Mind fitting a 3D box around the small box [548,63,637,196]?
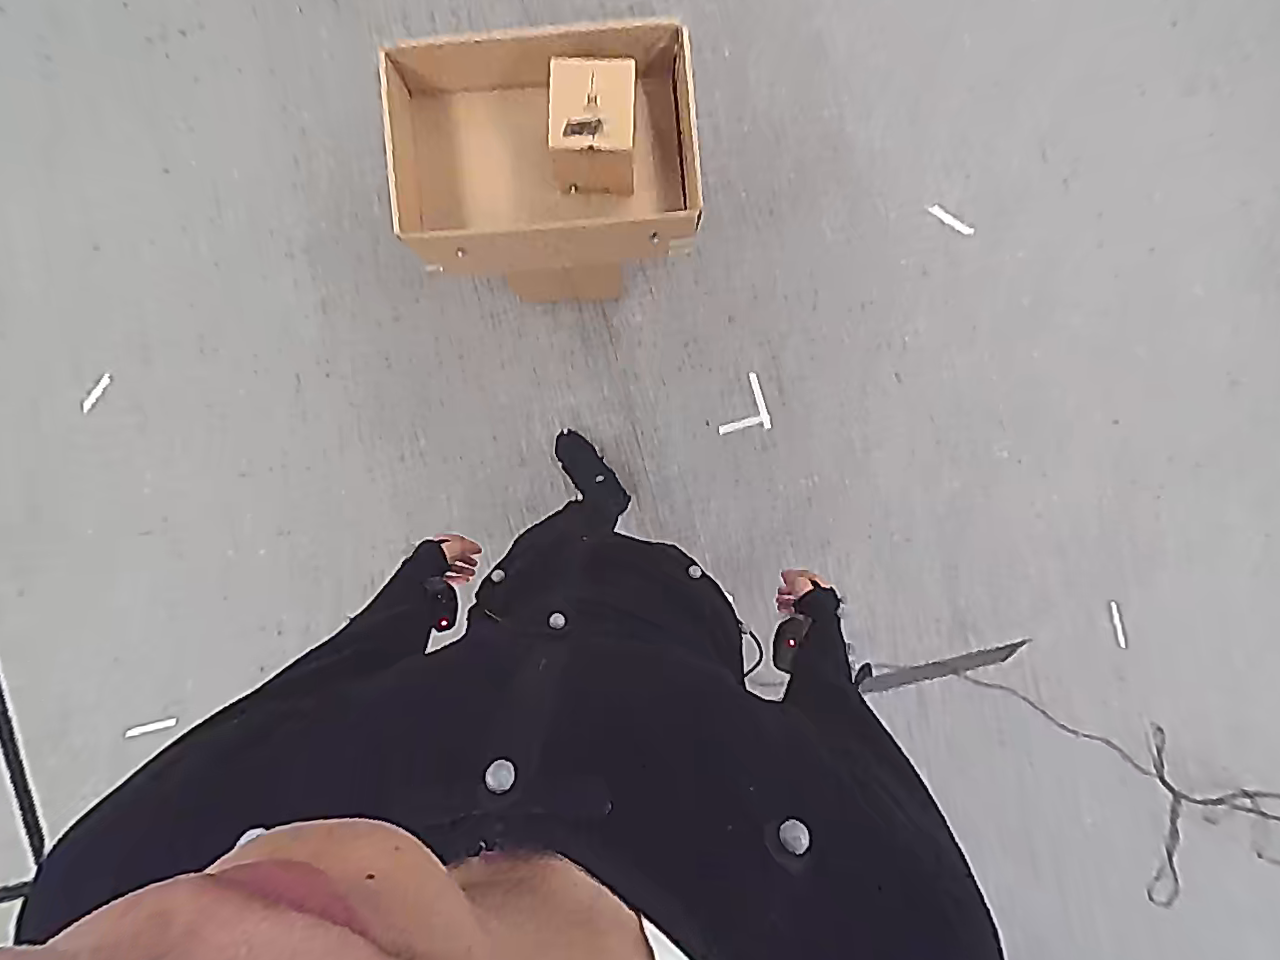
[{"bbox_3d":[-0.091,-0.715,1.121,0.168,0.176,0.179,2,89,0],"label":"small box"}]
